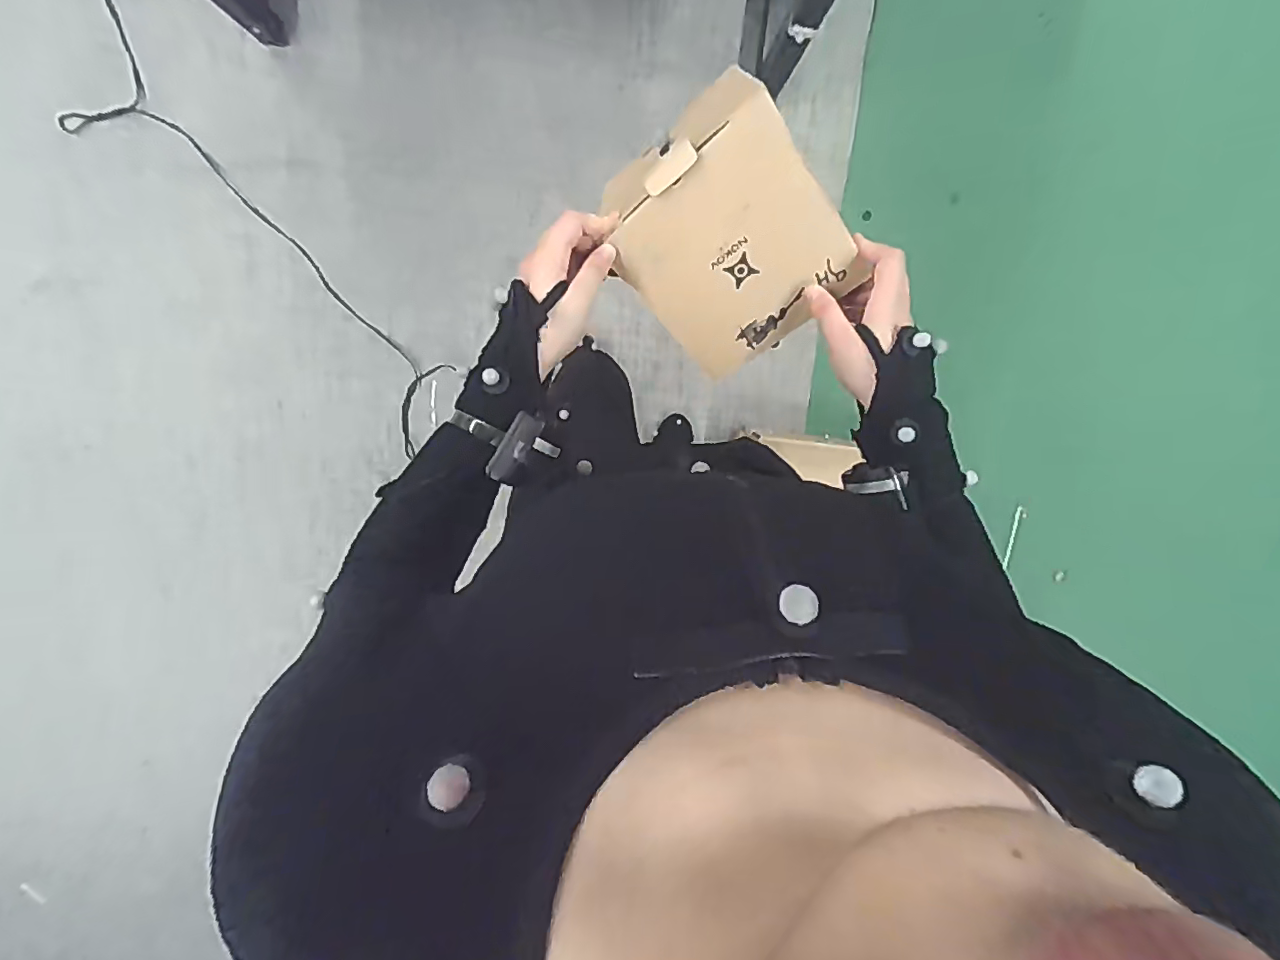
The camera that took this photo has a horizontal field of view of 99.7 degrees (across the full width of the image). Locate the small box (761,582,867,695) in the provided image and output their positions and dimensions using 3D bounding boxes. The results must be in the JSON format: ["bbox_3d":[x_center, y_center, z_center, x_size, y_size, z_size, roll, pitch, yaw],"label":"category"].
[{"bbox_3d":[0.399,0.368,1.275,0.168,0.176,0.179,14,102,-5],"label":"small box"}]

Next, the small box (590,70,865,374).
[{"bbox_3d":[0.072,-0.240,0.504,0.168,0.176,0.179,-33,125,26],"label":"small box"}]
